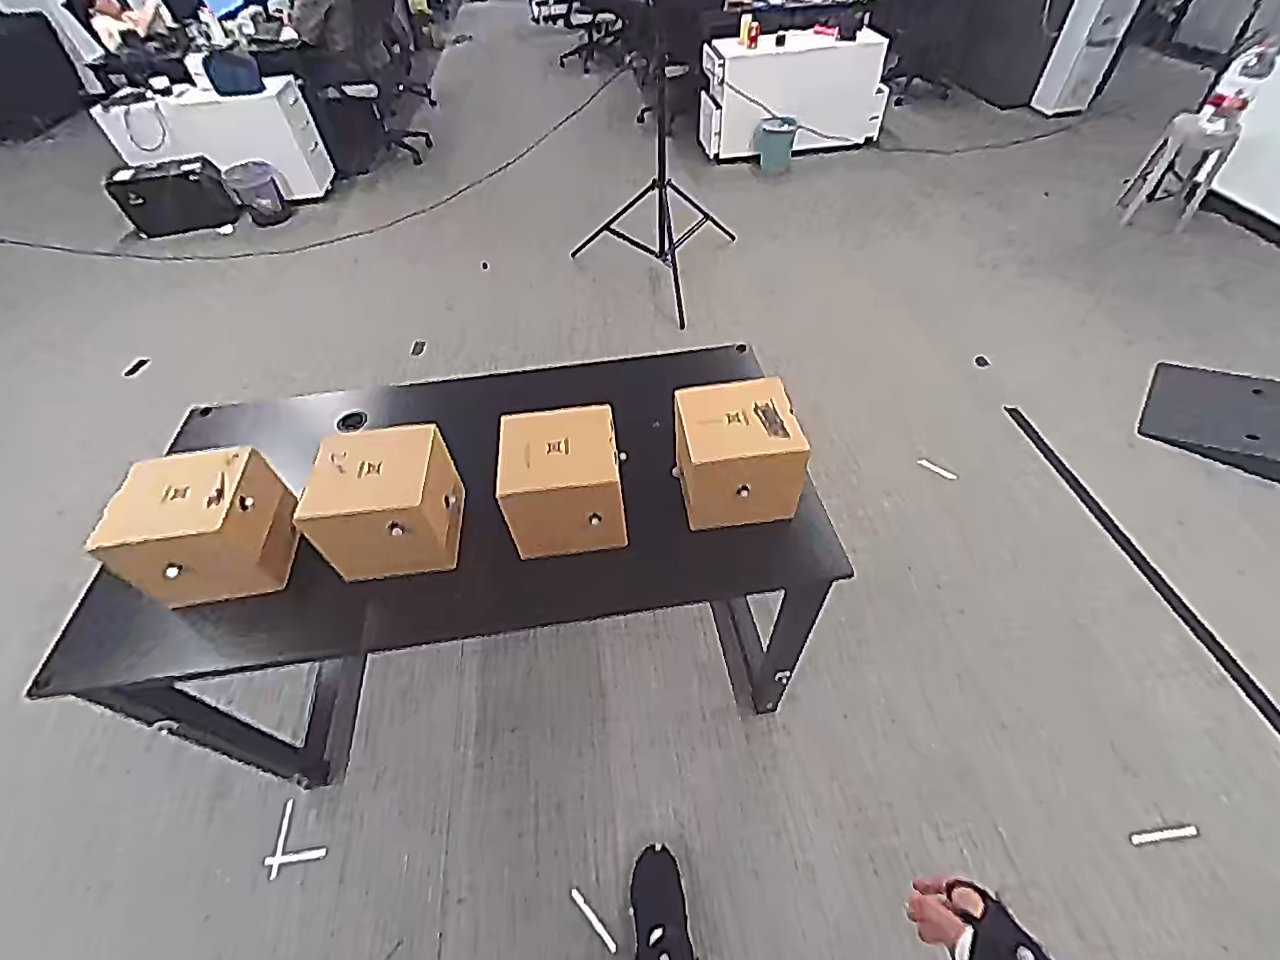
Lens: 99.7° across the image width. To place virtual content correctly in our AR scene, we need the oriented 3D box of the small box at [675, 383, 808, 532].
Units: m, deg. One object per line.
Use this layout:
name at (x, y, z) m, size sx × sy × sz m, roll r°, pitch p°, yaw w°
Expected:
small box at (0.154, -0.034, 0.886) m, size 0.179 × 0.176 × 0.168 m, roll -7°, pitch 49°, yaw -1°

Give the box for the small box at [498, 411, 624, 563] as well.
small box at (-0.120, 0.013, 0.866) m, size 0.179 × 0.176 × 0.168 m, roll -8°, pitch 48°, yaw -4°

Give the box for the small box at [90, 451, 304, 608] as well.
small box at (-0.662, 0.082, 0.841) m, size 0.179 × 0.176 × 0.168 m, roll -9°, pitch 50°, yaw -4°

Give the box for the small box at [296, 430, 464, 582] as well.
small box at (-0.392, 0.045, 0.855) m, size 0.179 × 0.176 × 0.168 m, roll -7°, pitch 49°, yaw -2°
